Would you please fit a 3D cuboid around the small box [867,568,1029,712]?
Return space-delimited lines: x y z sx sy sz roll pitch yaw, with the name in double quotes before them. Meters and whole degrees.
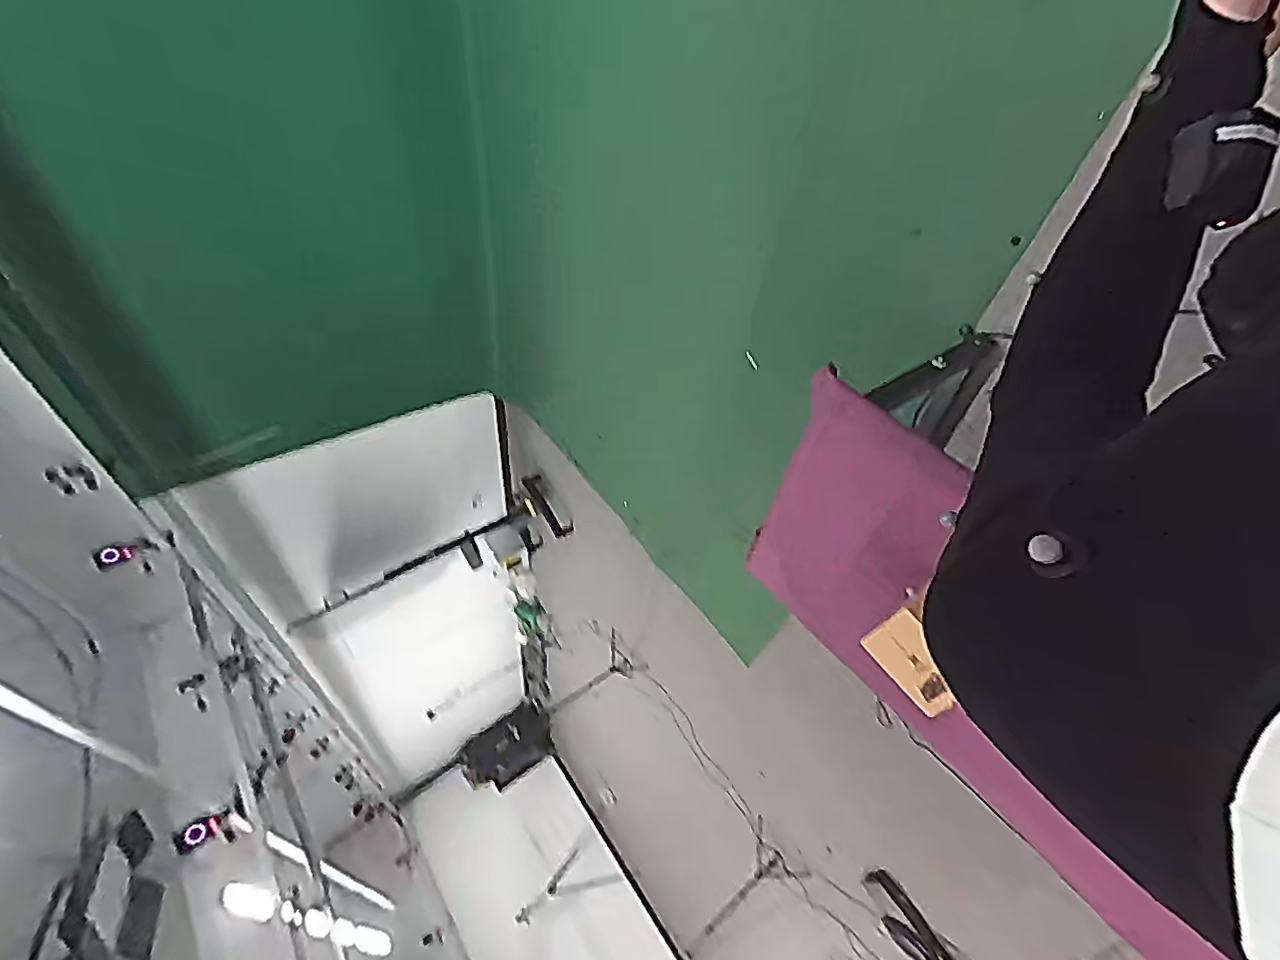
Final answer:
"small box" 0.587 0.303 1.035 0.179 0.176 0.168 51 148 24
